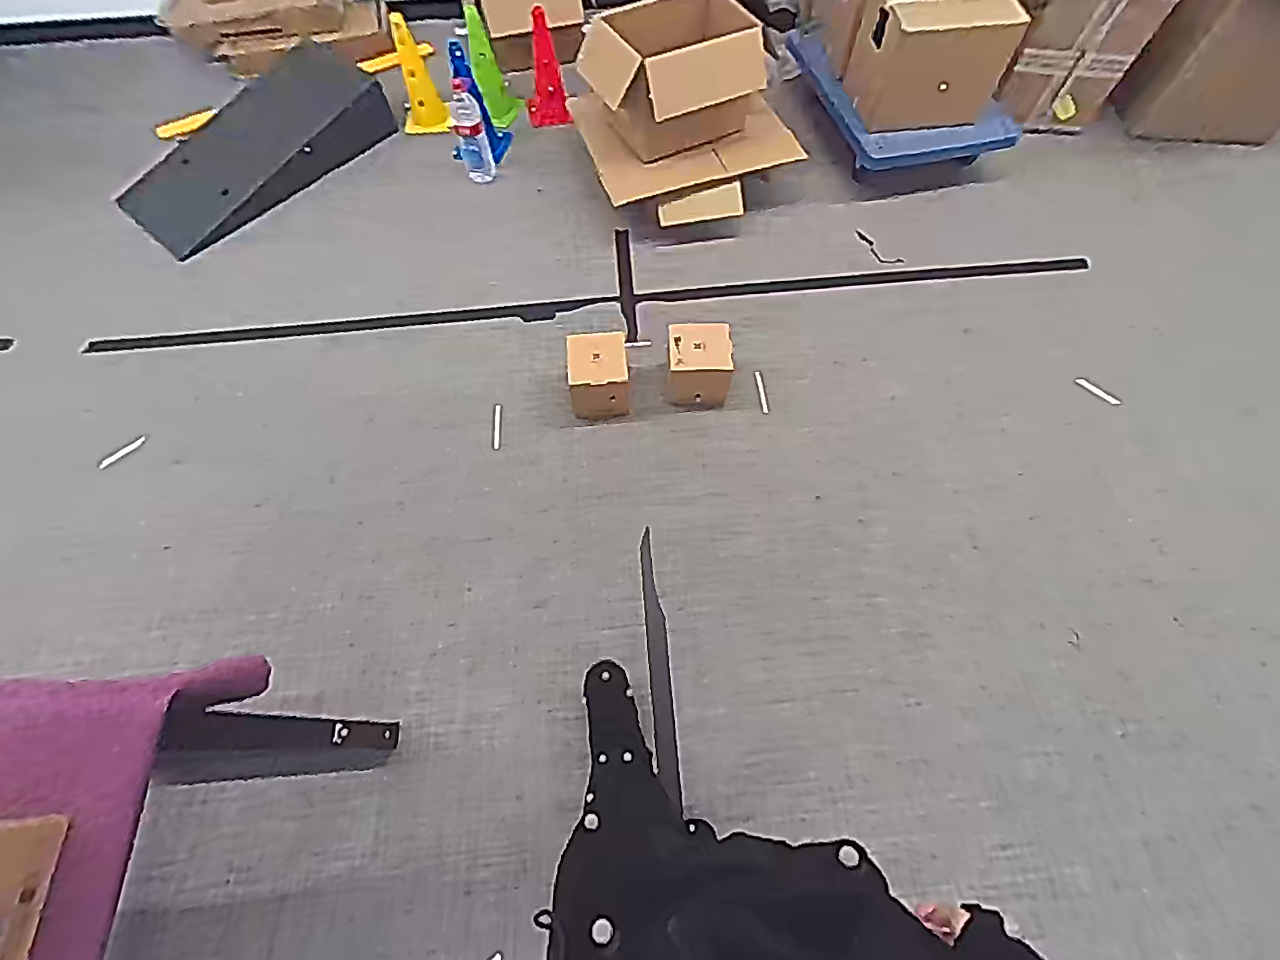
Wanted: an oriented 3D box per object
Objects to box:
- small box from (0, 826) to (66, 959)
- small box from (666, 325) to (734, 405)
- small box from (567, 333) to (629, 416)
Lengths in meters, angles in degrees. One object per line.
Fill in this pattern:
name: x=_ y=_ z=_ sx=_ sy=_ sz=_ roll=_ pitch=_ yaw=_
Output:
small box: x=-0.638 y=0.384 z=0.422 sx=0.179 sy=0.176 sz=0.168 roll=-5 pitch=65 yaw=-2
small box: x=0.170 y=-0.333 z=1.584 sx=0.179 sy=0.176 sz=0.168 roll=0 pitch=64 yaw=-1
small box: x=-0.119 y=-0.298 z=1.568 sx=0.168 sy=0.176 sz=0.179 roll=-5 pitch=63 yaw=-3
